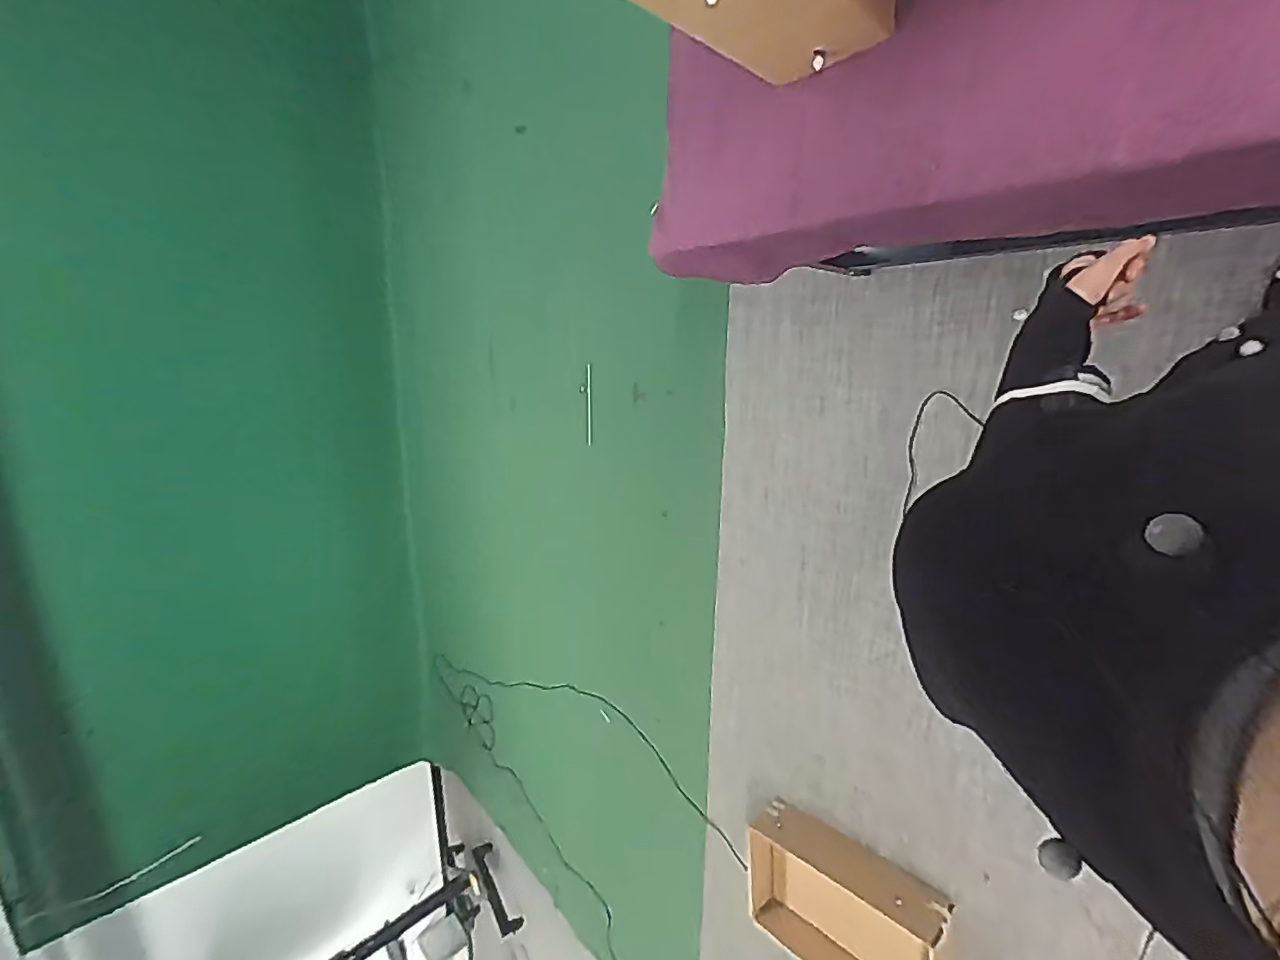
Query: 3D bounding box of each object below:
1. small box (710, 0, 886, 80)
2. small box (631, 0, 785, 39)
[{"bbox_3d":[0.210,-0.664,0.702,0.179,0.176,0.168,11,108,46],"label":"small box"},{"bbox_3d":[0.091,-0.636,0.592,0.179,0.176,0.168,12,108,46],"label":"small box"}]
